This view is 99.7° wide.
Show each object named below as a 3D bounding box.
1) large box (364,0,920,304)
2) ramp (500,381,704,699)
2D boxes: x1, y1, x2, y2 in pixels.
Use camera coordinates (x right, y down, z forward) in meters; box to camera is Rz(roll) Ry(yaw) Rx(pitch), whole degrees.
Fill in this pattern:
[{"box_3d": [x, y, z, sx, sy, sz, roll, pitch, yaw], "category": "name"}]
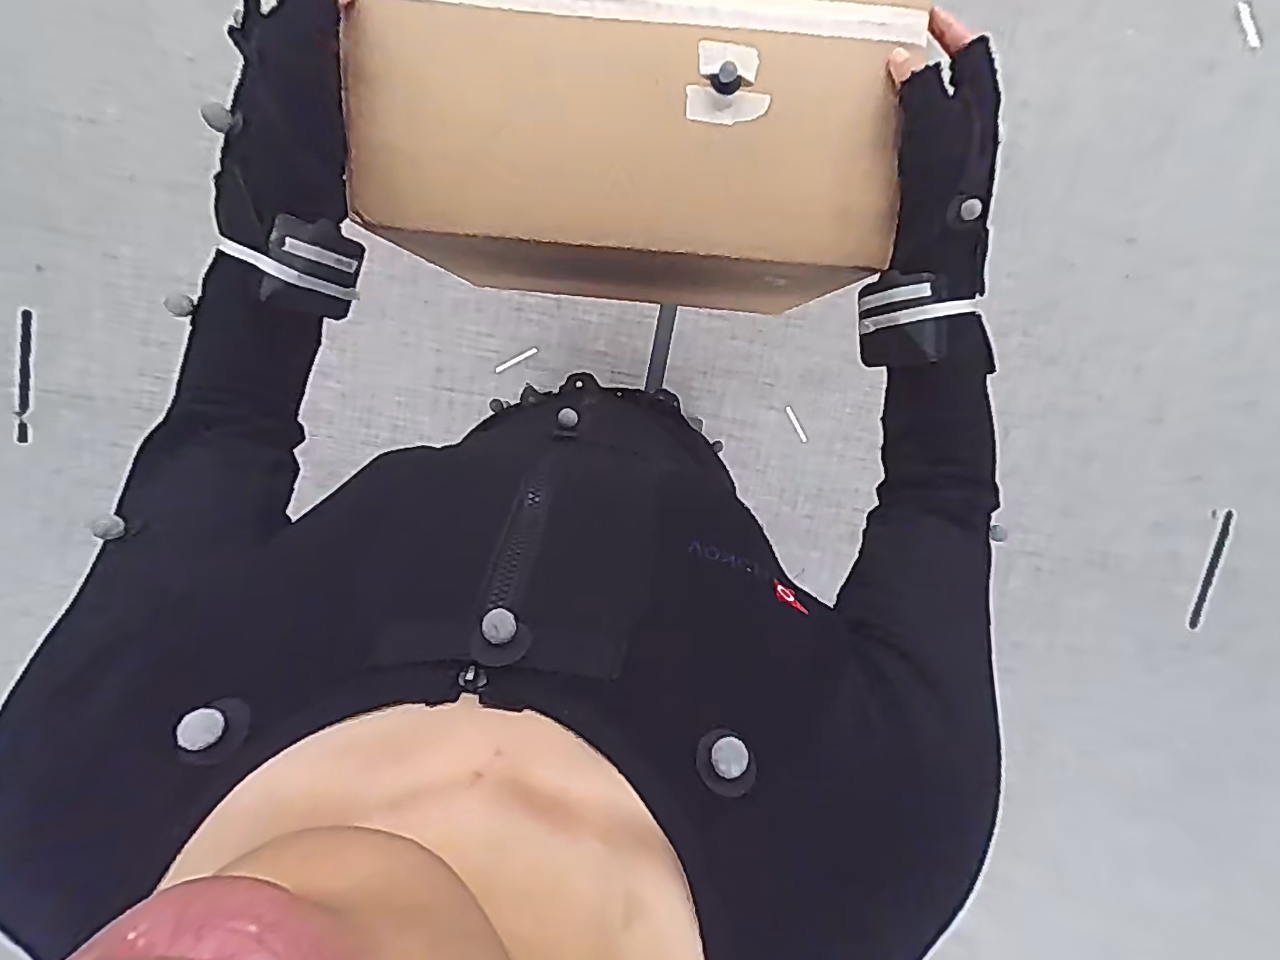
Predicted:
[{"box_3d": [-0.001, -0.364, 0.534, 0.408, 0.320, 0.320, 4, 102, -2], "category": "large box"}, {"box_3d": [-0.140, 0.230, 1.619, 0.509, 0.206, 0.991, 8, 100, -2], "category": "ramp"}]
